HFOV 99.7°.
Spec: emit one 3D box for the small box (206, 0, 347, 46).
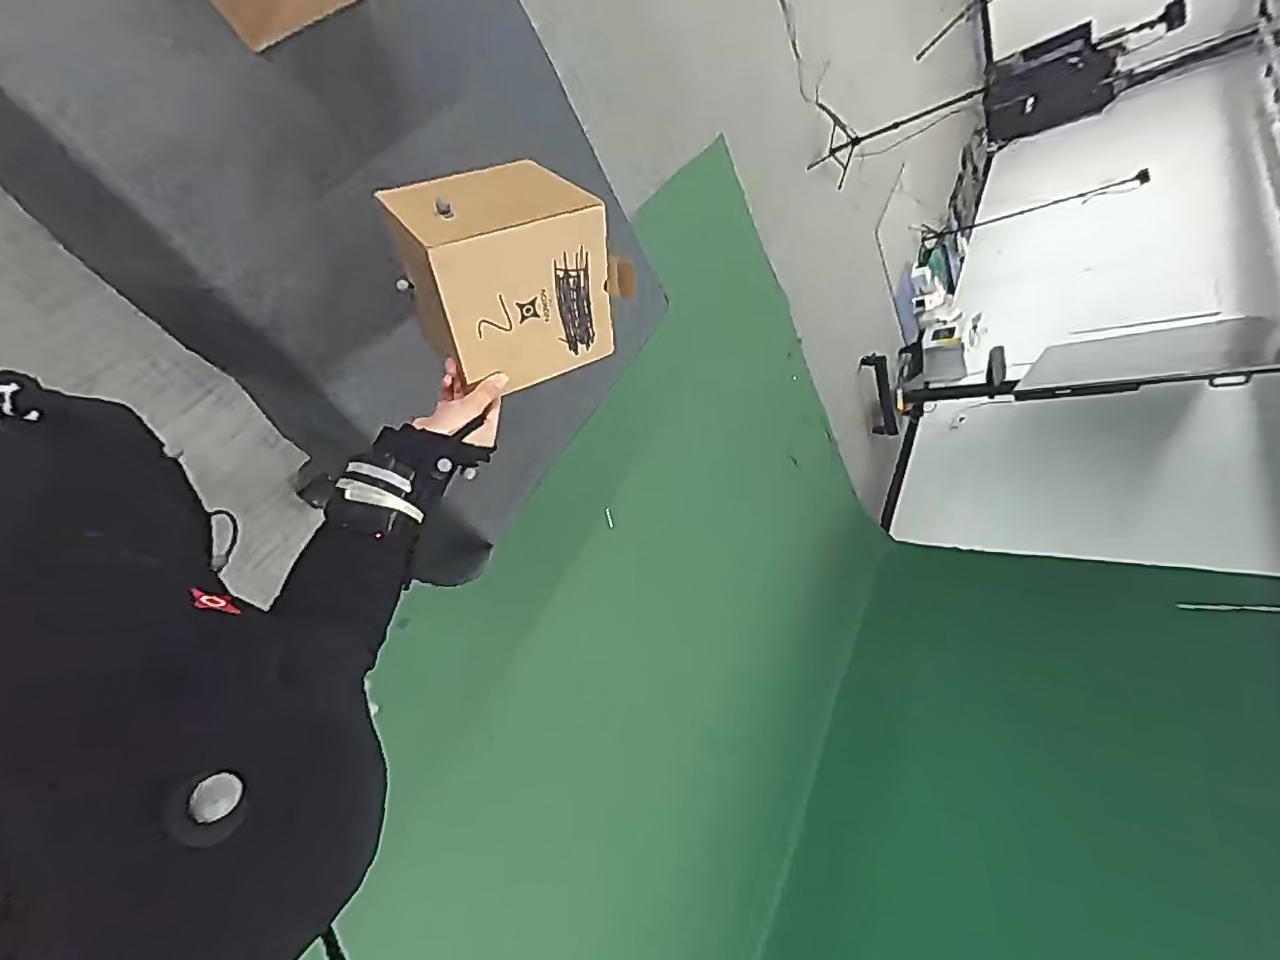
[{"bbox_3d":[-0.343,-0.555,0.494,0.168,0.176,0.179,50,55,-36],"label":"small box"}]
